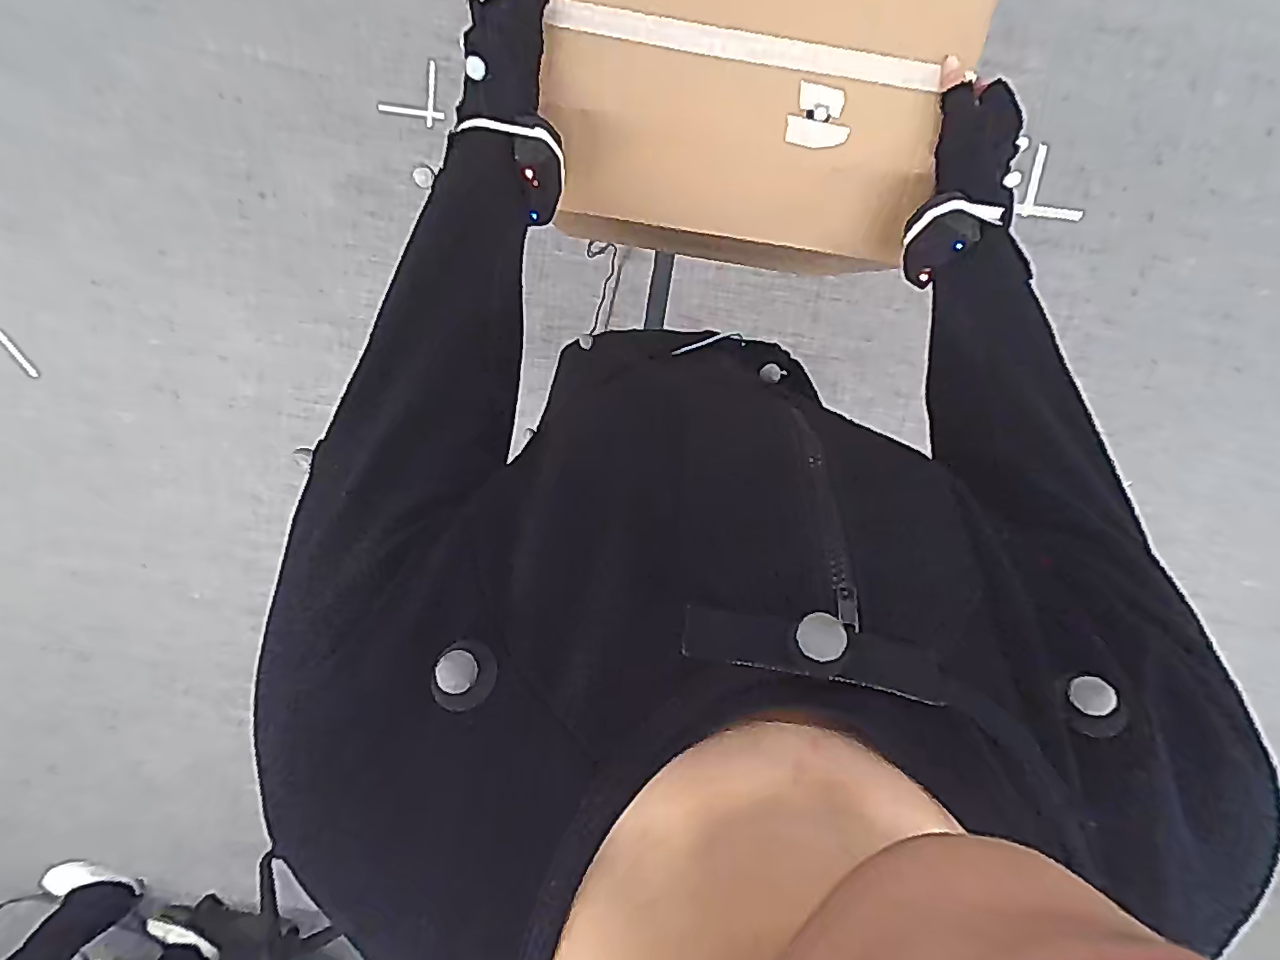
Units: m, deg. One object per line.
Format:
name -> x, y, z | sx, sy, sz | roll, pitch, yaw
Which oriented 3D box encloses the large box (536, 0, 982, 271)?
large box -> 0.103, -0.444, 0.650 | 0.408, 0.320, 0.320 | 7, 110, -4
